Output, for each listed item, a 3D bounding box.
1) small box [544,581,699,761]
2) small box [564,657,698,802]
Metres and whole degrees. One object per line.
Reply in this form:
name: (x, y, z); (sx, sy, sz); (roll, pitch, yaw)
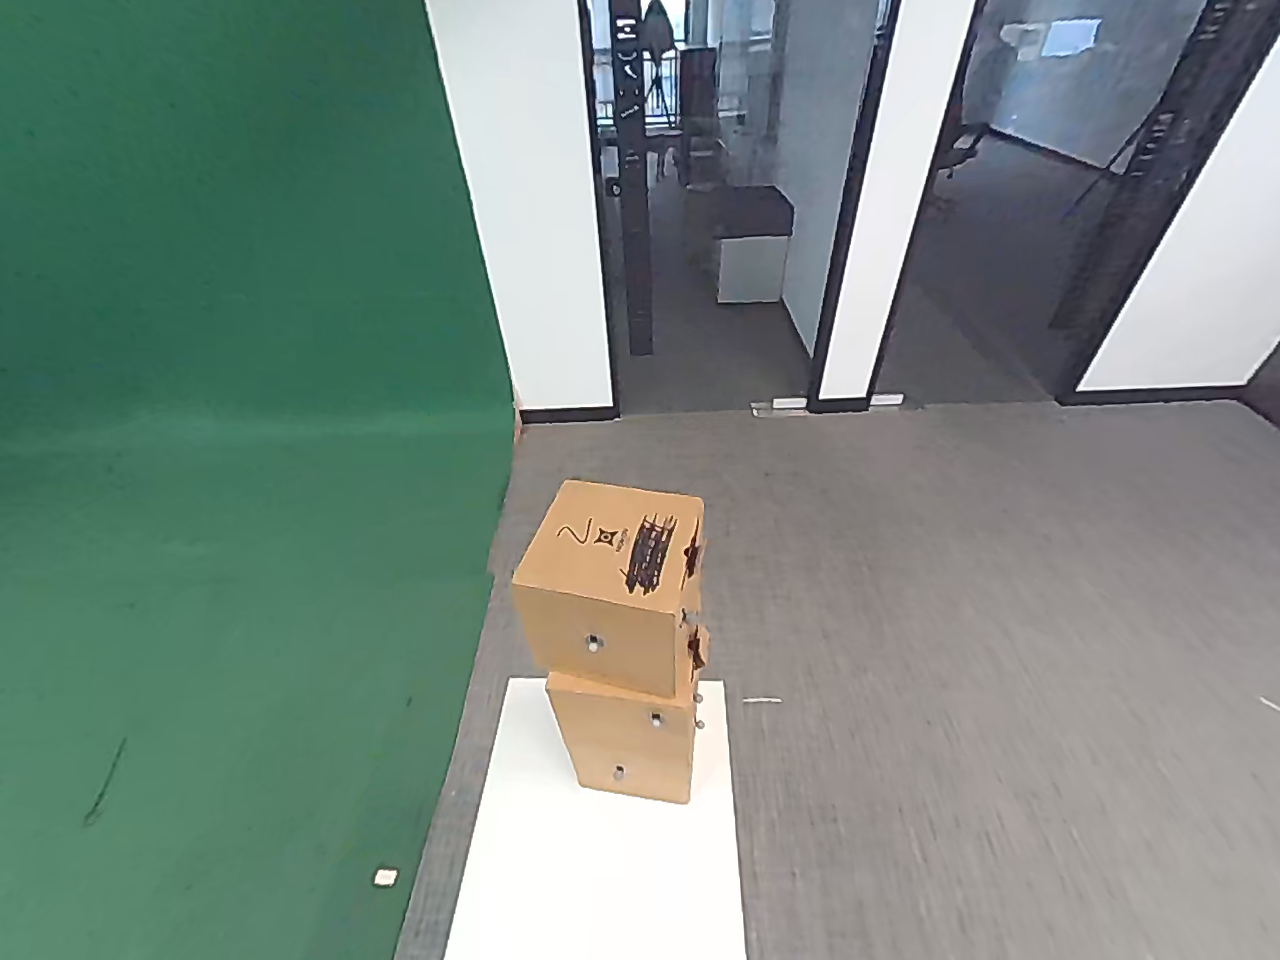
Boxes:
small box: (-0.014, 0.261, 0.740); (0.179, 0.176, 0.168); (4, 42, 8)
small box: (-0.004, 0.381, 0.850); (0.179, 0.176, 0.168); (4, 42, 9)
